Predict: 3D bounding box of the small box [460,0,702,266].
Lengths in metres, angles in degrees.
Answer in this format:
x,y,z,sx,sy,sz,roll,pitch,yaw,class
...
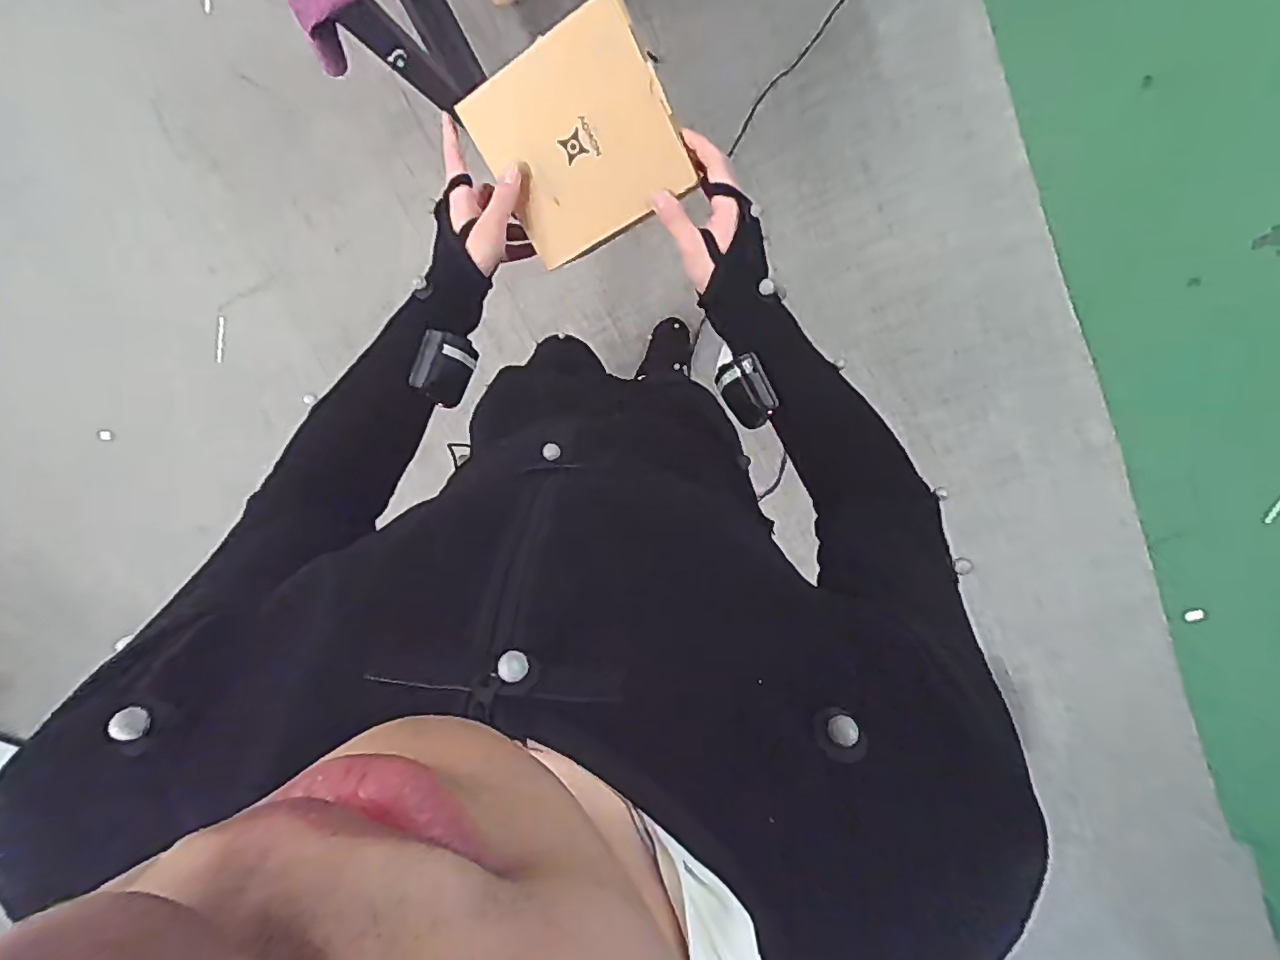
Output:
x,y,z,sx,sy,sz,roll,pitch,yaw,class
-0.044,-0.352,0.567,0.179,0.176,0.168,-22,112,21,small box
